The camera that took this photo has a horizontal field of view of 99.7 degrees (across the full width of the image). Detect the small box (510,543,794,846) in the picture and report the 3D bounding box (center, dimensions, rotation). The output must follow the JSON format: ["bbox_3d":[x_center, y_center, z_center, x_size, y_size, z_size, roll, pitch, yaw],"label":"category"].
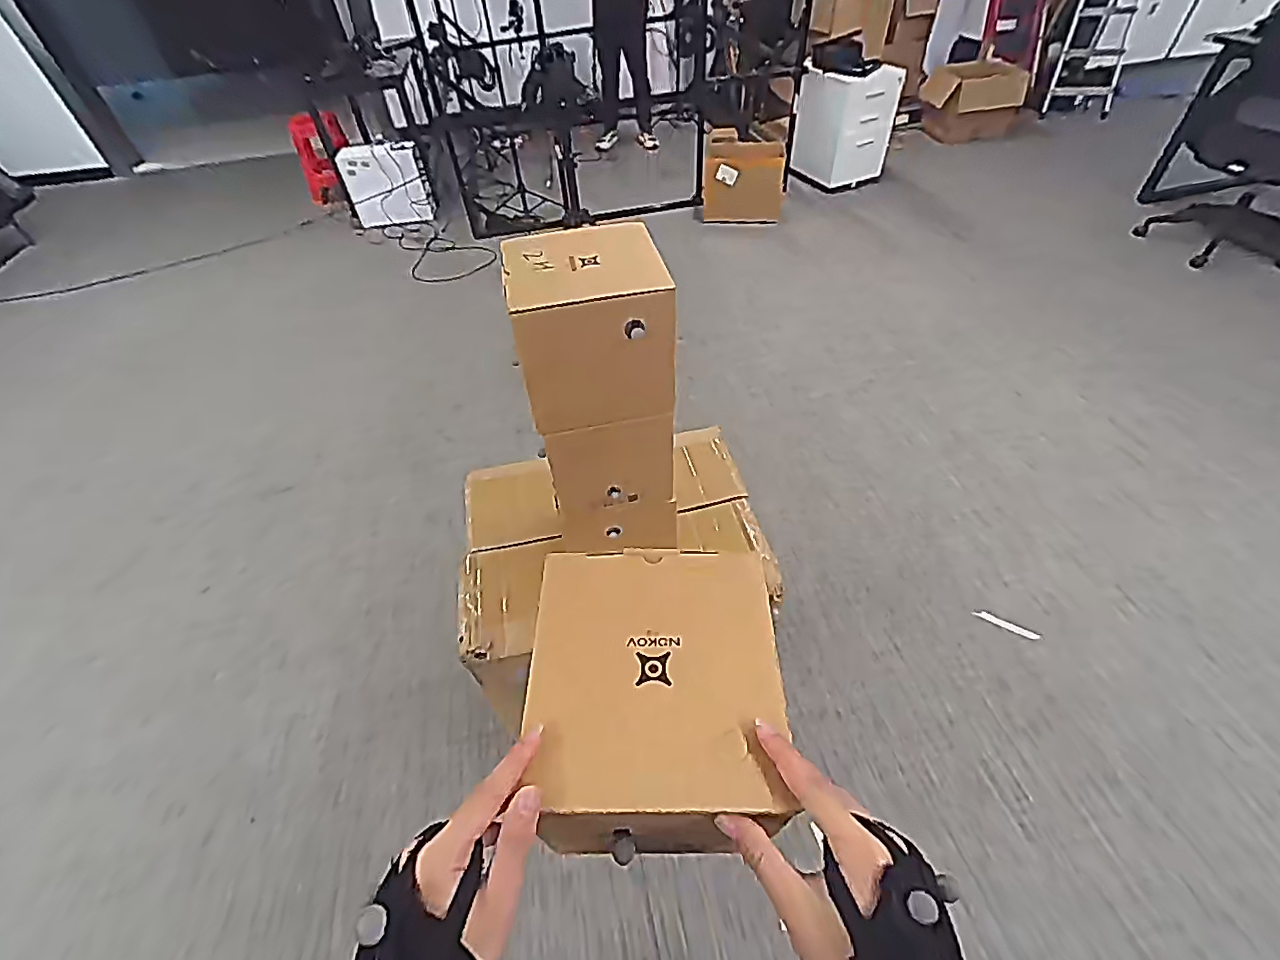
[{"bbox_3d":[0.011,0.169,0.418,0.168,0.176,0.179,-2,47,2],"label":"small box"}]

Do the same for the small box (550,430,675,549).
[{"bbox_3d":[-0.043,0.045,0.893,0.179,0.176,0.168,-11,48,-6],"label":"small box"}]

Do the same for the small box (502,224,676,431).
[{"bbox_3d":[-0.060,-0.182,0.655,0.179,0.176,0.168,-11,48,-6],"label":"small box"}]
